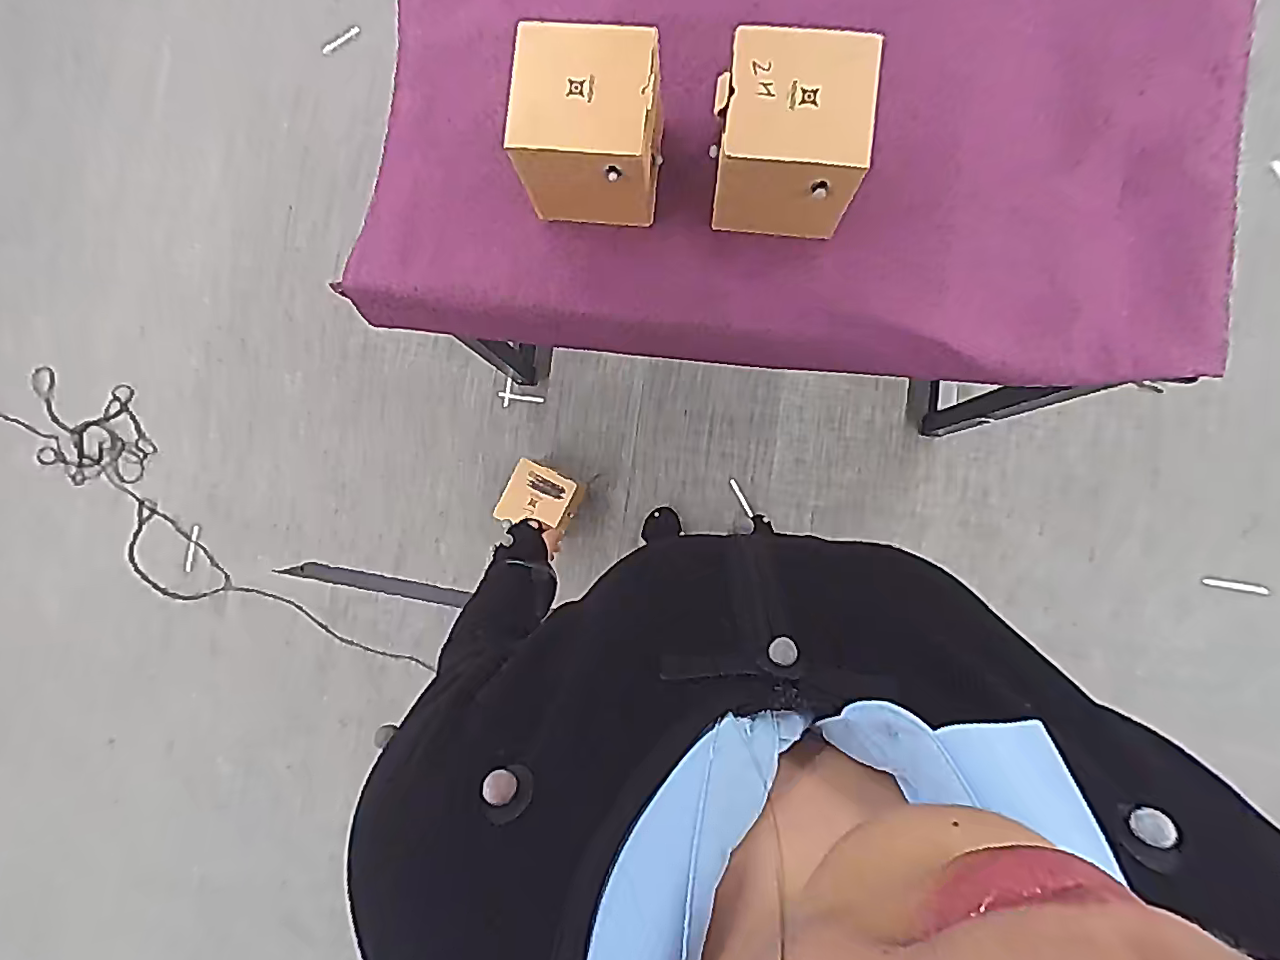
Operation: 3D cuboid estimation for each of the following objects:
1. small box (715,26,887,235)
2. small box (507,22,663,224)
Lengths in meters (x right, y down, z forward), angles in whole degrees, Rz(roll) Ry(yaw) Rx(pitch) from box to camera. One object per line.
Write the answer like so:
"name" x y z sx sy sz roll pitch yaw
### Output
"small box" 0.200 -0.447 0.717 0.179 0.176 0.168 7 87 5
"small box" -0.064 -0.474 0.740 0.179 0.176 0.168 5 87 4
